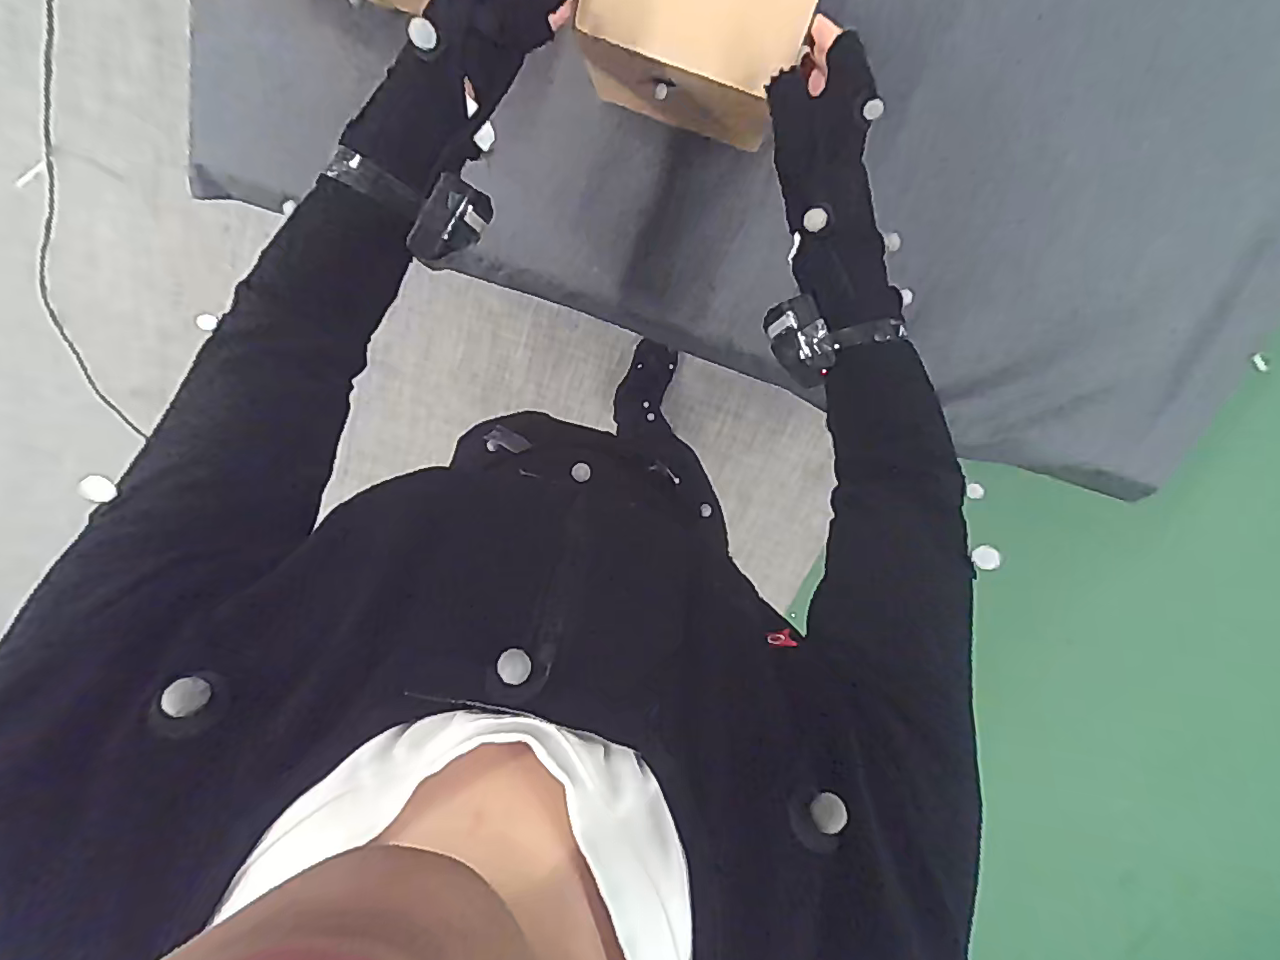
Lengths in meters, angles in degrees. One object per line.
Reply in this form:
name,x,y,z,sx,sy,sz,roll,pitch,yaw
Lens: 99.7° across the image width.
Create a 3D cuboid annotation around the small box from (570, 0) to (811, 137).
small box,0.057,-0.427,0.468,0.179,0.176,0.168,18,111,-3
